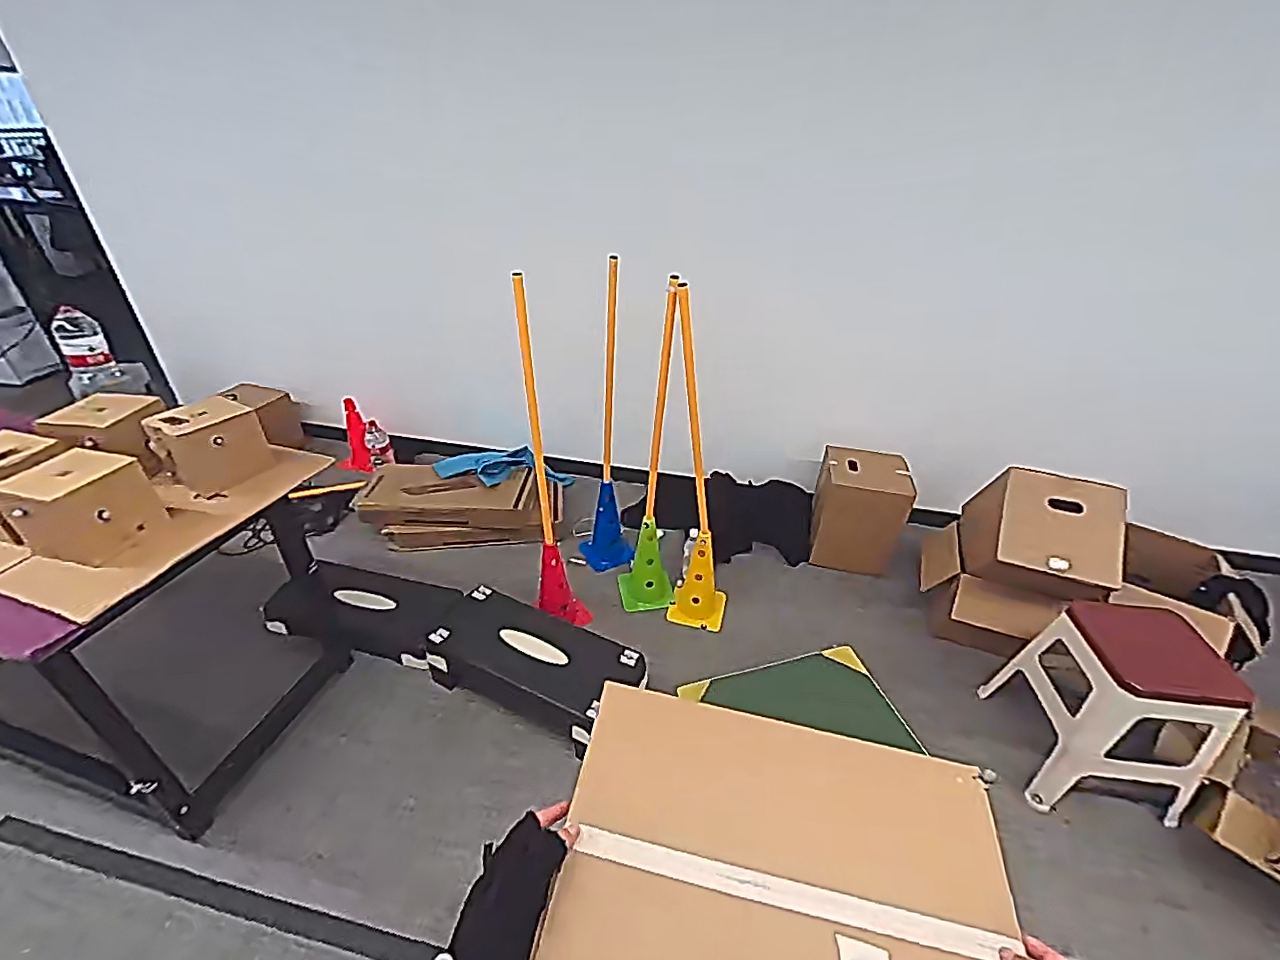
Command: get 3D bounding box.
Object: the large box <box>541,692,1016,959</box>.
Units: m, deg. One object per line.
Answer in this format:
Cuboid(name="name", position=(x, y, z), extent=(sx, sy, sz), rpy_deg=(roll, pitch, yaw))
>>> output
Cuboid(name="large box", position=(0.121, 0.485, 0.588), extent=(0.408, 0.320, 0.320), rpy_deg=(11, 42, 7))
